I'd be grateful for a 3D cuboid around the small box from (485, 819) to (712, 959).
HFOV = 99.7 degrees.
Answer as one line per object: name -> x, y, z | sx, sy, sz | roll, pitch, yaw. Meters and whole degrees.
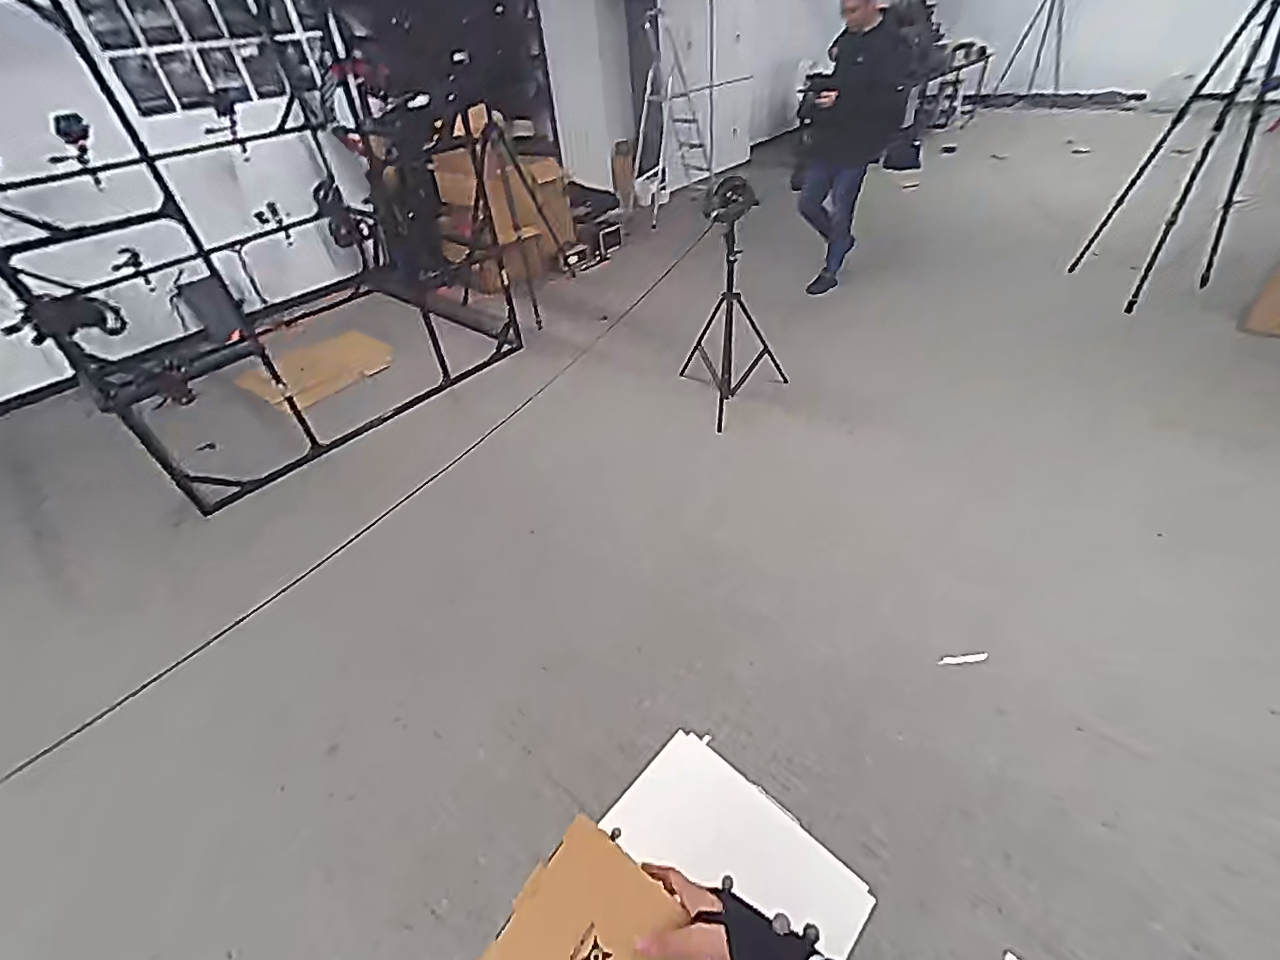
small box -> -0.034, 0.515, 0.594 | 0.179, 0.176, 0.168 | 26, 59, 27
